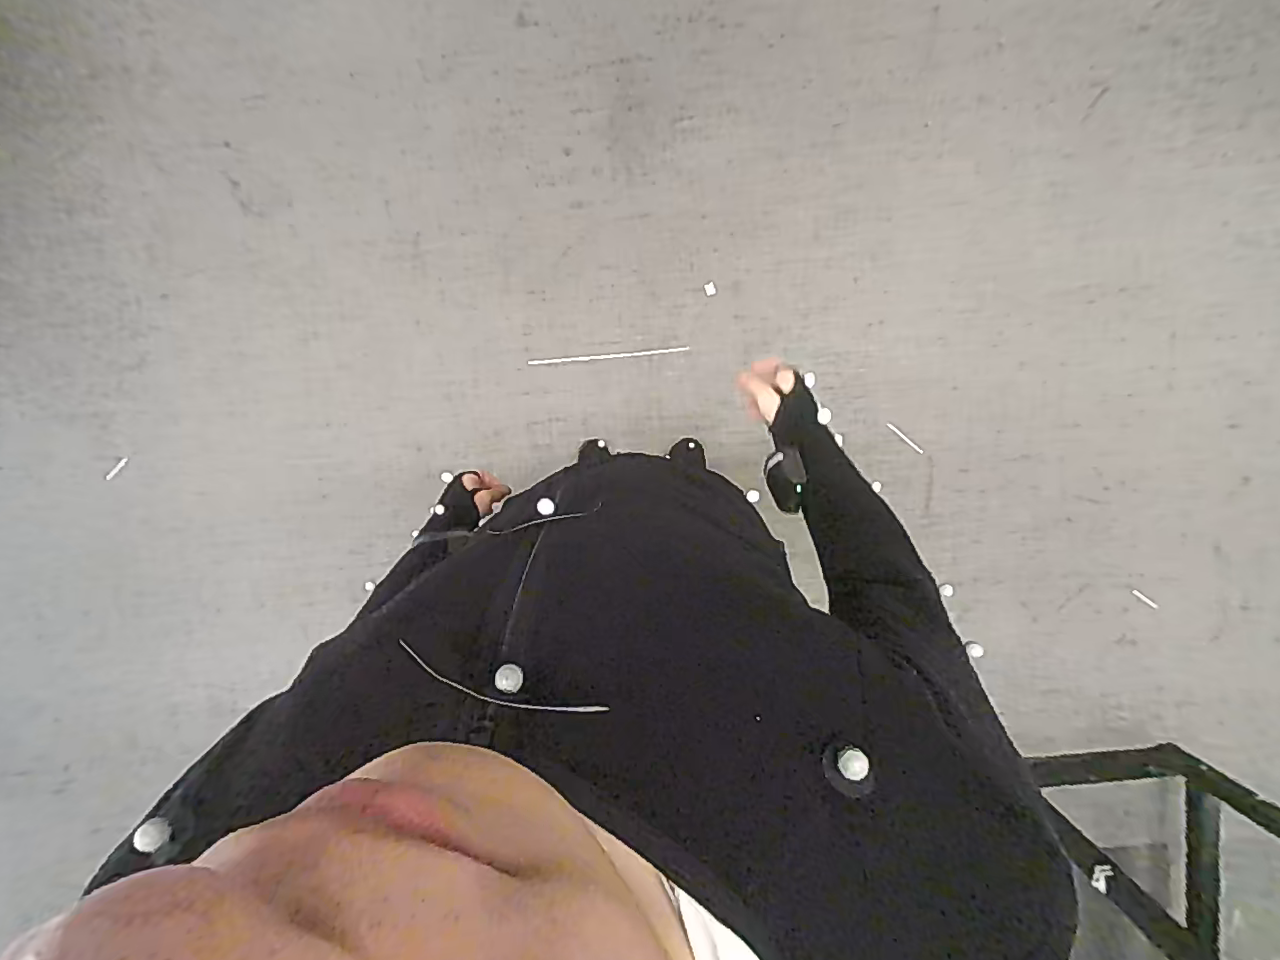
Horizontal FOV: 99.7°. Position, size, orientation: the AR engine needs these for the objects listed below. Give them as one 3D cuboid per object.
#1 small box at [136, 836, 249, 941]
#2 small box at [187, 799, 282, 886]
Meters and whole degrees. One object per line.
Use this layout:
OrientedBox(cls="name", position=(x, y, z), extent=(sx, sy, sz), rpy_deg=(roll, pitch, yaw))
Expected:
OrientedBox(cls="small box", position=(-1.232, 1.120, 1.500), extent=(0.168, 0.176, 0.179), rpy_deg=(-4, 95, 2))
OrientedBox(cls="small box", position=(-1.234, 1.112, 1.662), extent=(0.179, 0.176, 0.168), rpy_deg=(-3, 93, 1))
